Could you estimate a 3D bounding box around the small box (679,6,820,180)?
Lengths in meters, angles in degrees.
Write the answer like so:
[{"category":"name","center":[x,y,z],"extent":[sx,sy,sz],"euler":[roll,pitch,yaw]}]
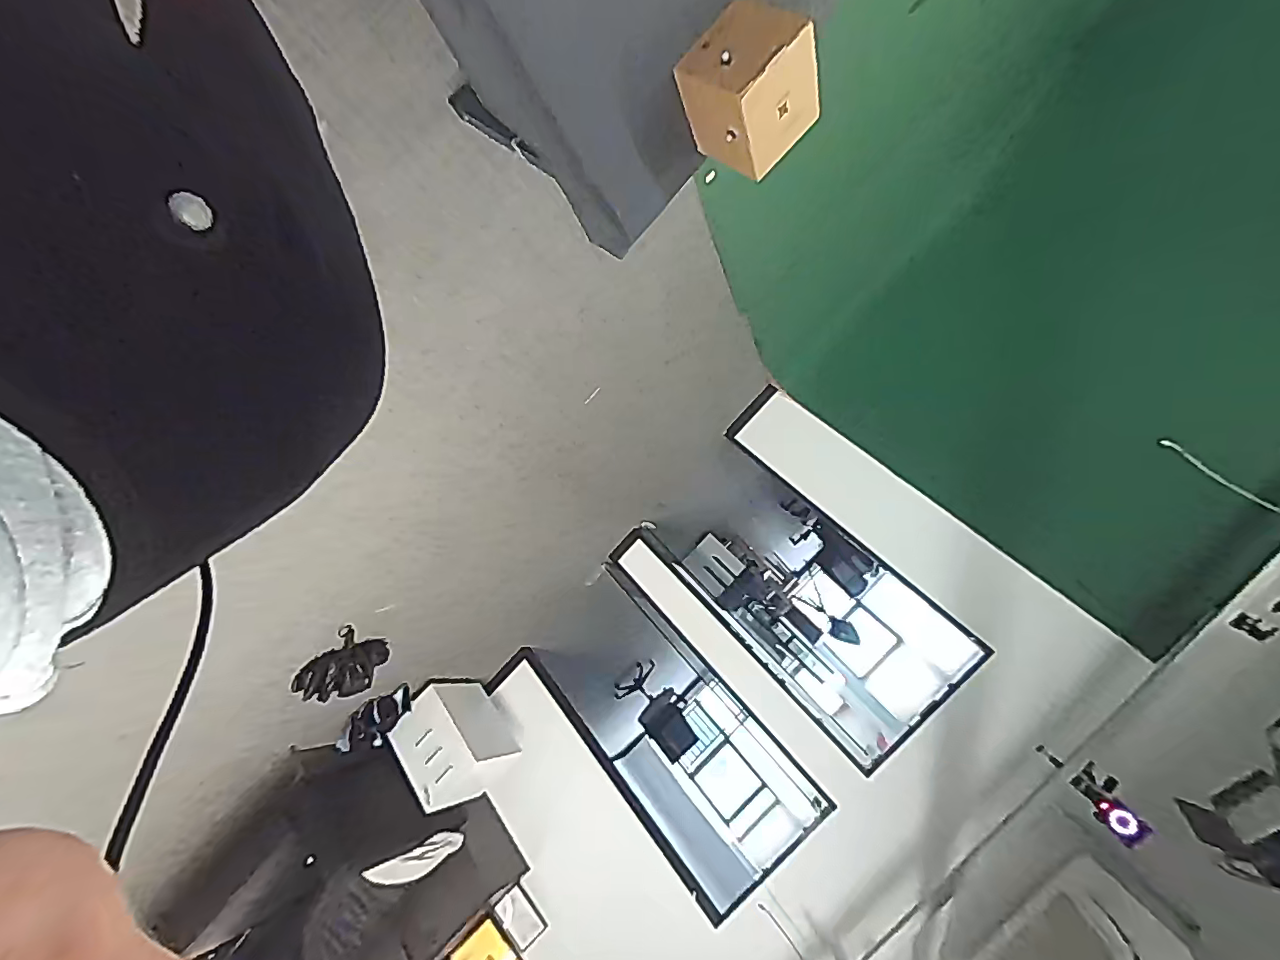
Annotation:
[{"category":"small box","center":[0.192,-0.684,0.953],"extent":[0.168,0.176,0.179],"euler":[-46,154,3]}]
